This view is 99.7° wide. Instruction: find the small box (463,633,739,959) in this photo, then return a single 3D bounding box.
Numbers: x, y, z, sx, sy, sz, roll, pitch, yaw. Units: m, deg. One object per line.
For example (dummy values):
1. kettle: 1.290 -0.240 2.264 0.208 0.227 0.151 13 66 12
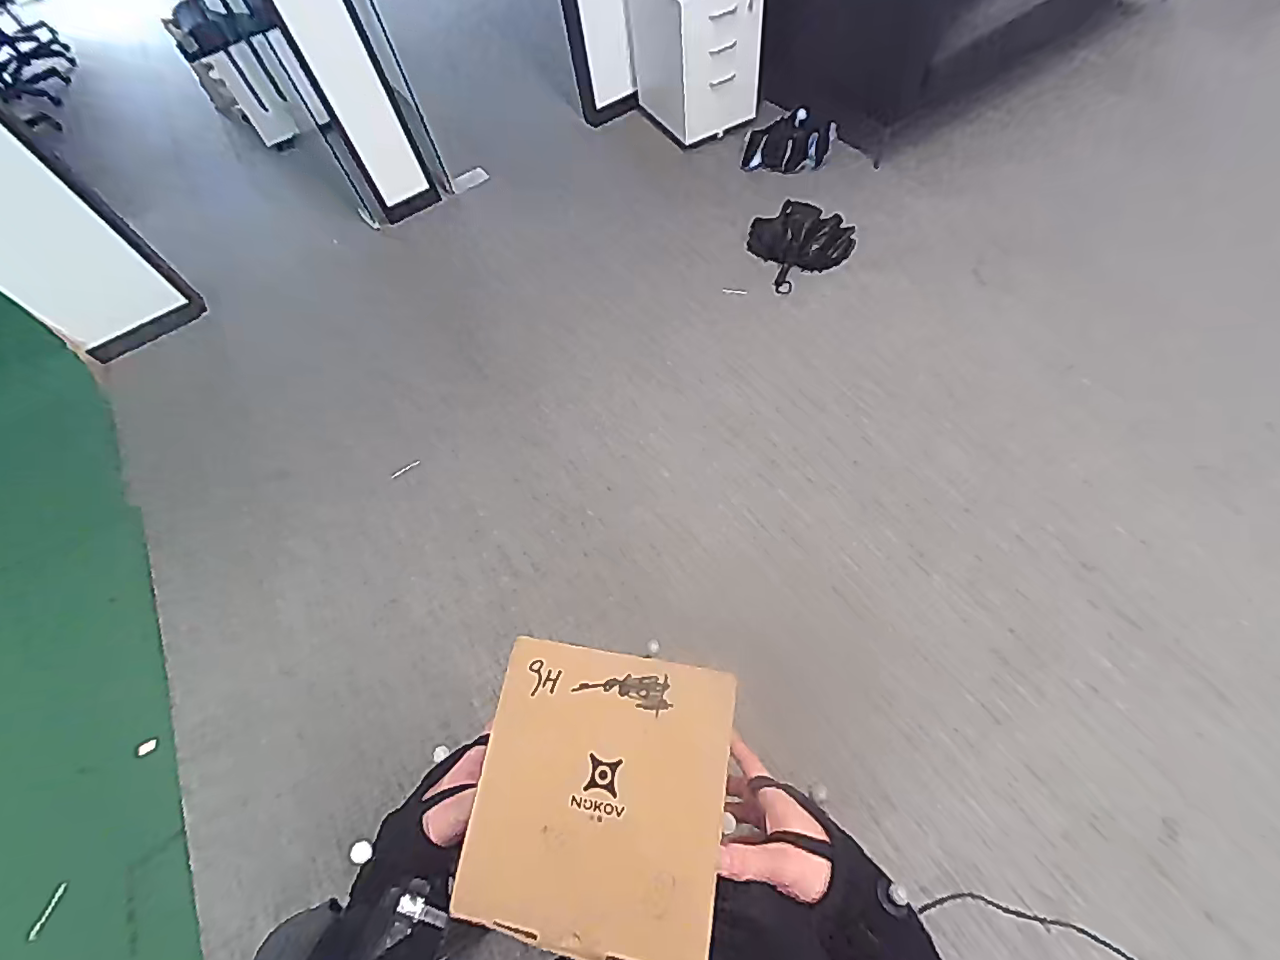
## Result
1. small box: -0.014 0.233 0.440 0.168 0.176 0.179 7 70 9
